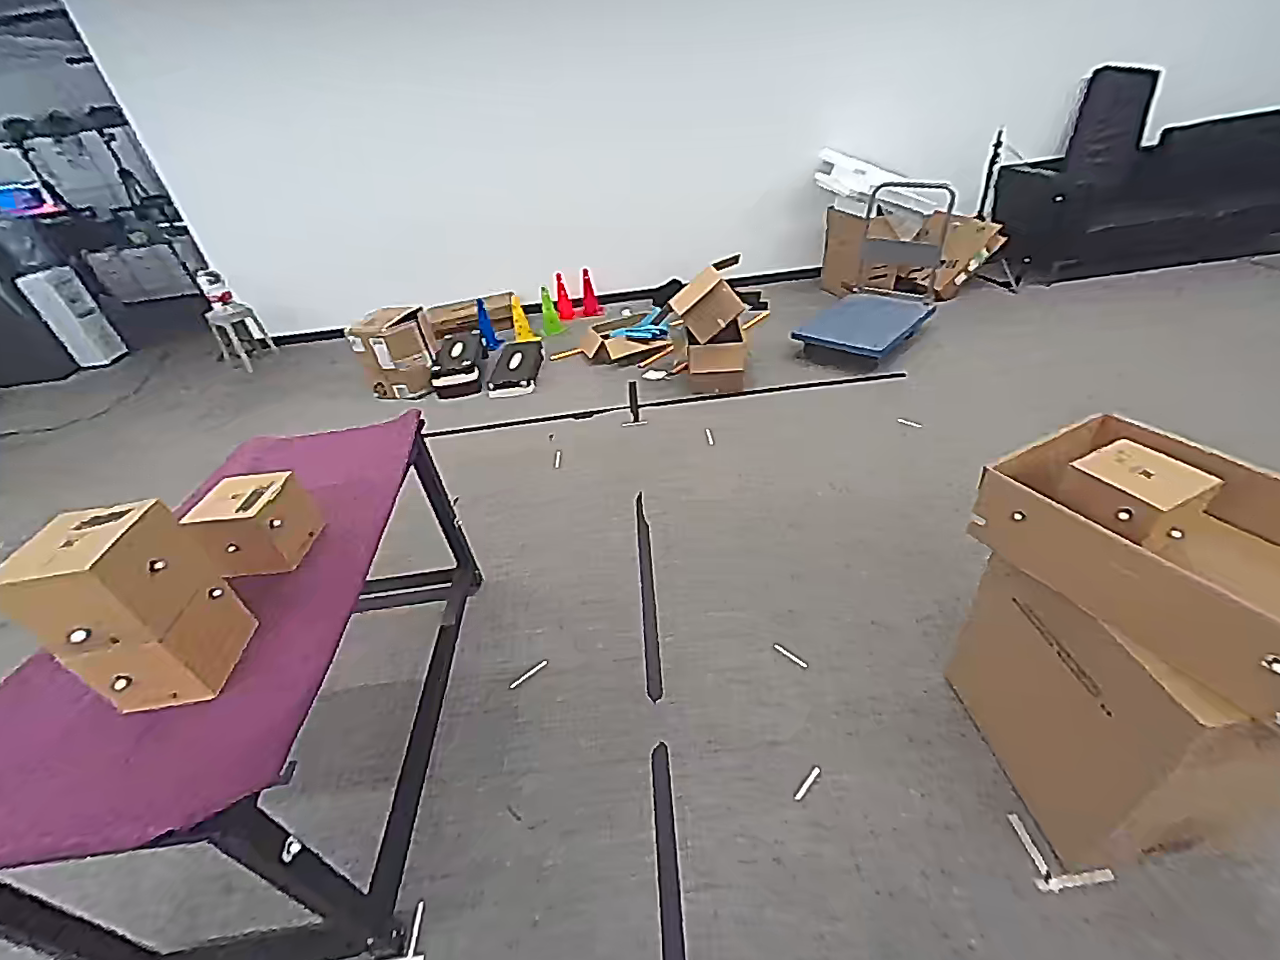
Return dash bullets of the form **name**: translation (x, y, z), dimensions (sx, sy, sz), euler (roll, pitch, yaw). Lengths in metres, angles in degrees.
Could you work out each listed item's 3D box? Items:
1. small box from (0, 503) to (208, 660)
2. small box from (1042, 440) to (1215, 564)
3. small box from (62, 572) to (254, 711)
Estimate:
- **small box**: translation (-0.870, 0.165, 0.894), dimensions (0.168, 0.176, 0.179), euler (-10, 36, -2)
- **small box**: translation (0.980, 0.050, 1.103), dimensions (0.168, 0.176, 0.179), euler (-20, 38, -15)
- **small box**: translation (-0.857, 0.299, 0.989), dimensions (0.168, 0.176, 0.179), euler (-9, 36, -2)
